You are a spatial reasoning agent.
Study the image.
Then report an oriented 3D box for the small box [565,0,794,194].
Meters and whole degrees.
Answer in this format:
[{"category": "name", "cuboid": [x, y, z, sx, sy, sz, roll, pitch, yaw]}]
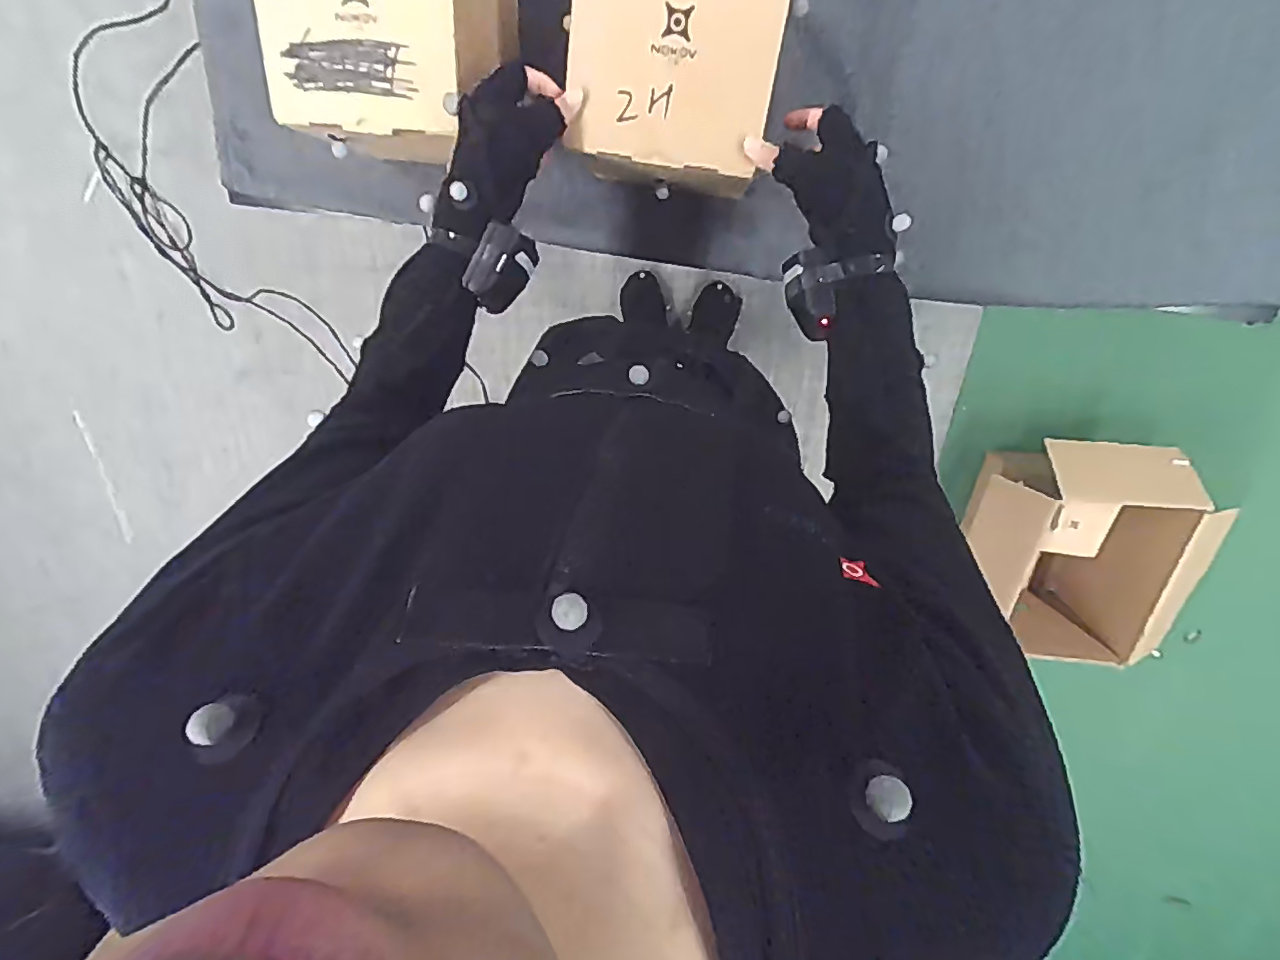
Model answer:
[{"category": "small box", "cuboid": [0.036, -0.376, 0.491, 0.168, 0.176, 0.179, 10, 114, 1]}]
